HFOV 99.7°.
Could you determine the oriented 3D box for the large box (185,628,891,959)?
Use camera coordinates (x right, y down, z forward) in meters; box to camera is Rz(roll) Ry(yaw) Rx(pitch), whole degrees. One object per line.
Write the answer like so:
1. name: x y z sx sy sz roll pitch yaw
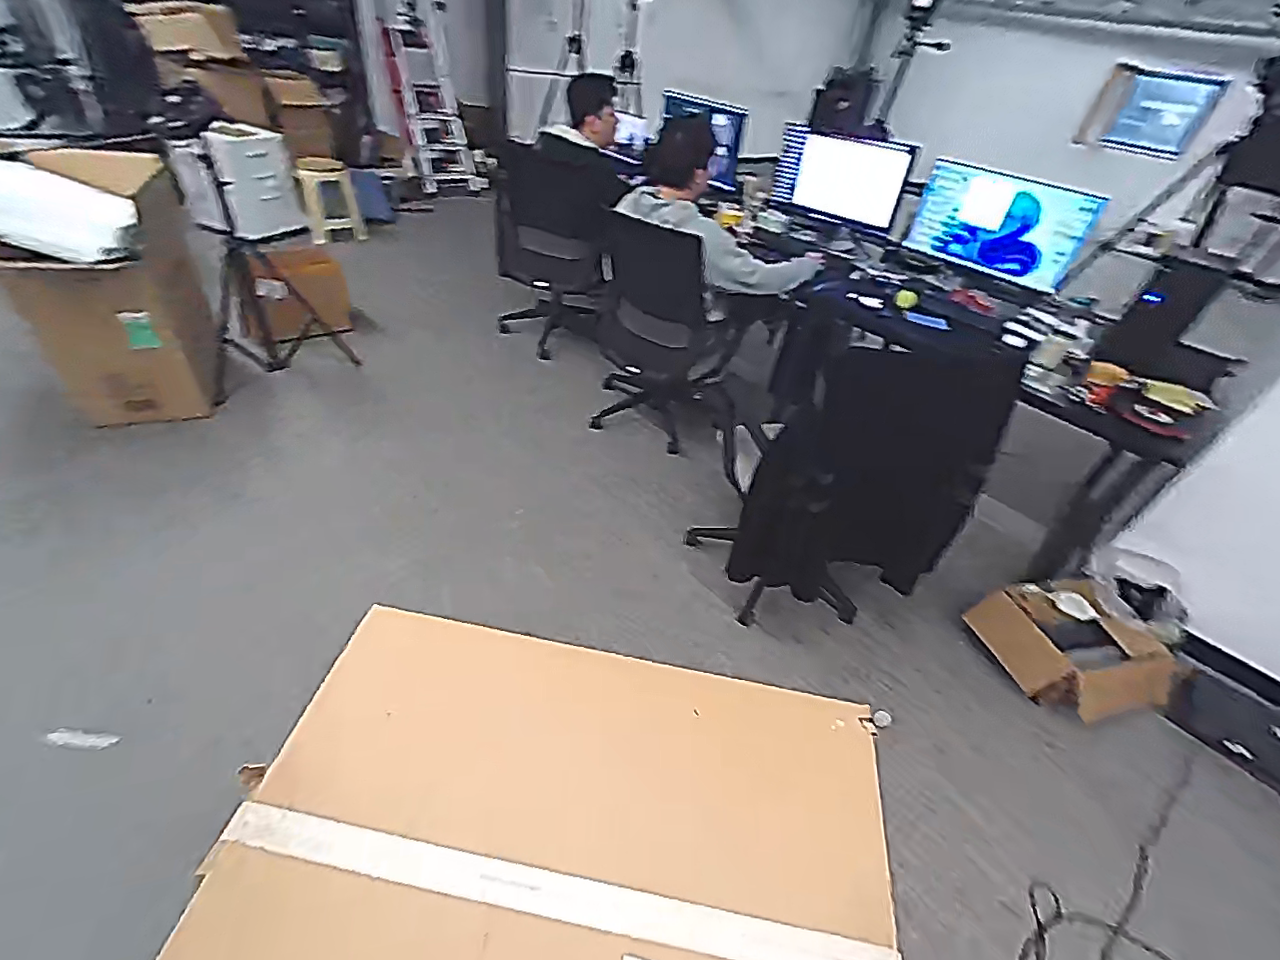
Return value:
1. large box: -0.060 0.360 0.433 0.408 0.320 0.320 10 47 2
